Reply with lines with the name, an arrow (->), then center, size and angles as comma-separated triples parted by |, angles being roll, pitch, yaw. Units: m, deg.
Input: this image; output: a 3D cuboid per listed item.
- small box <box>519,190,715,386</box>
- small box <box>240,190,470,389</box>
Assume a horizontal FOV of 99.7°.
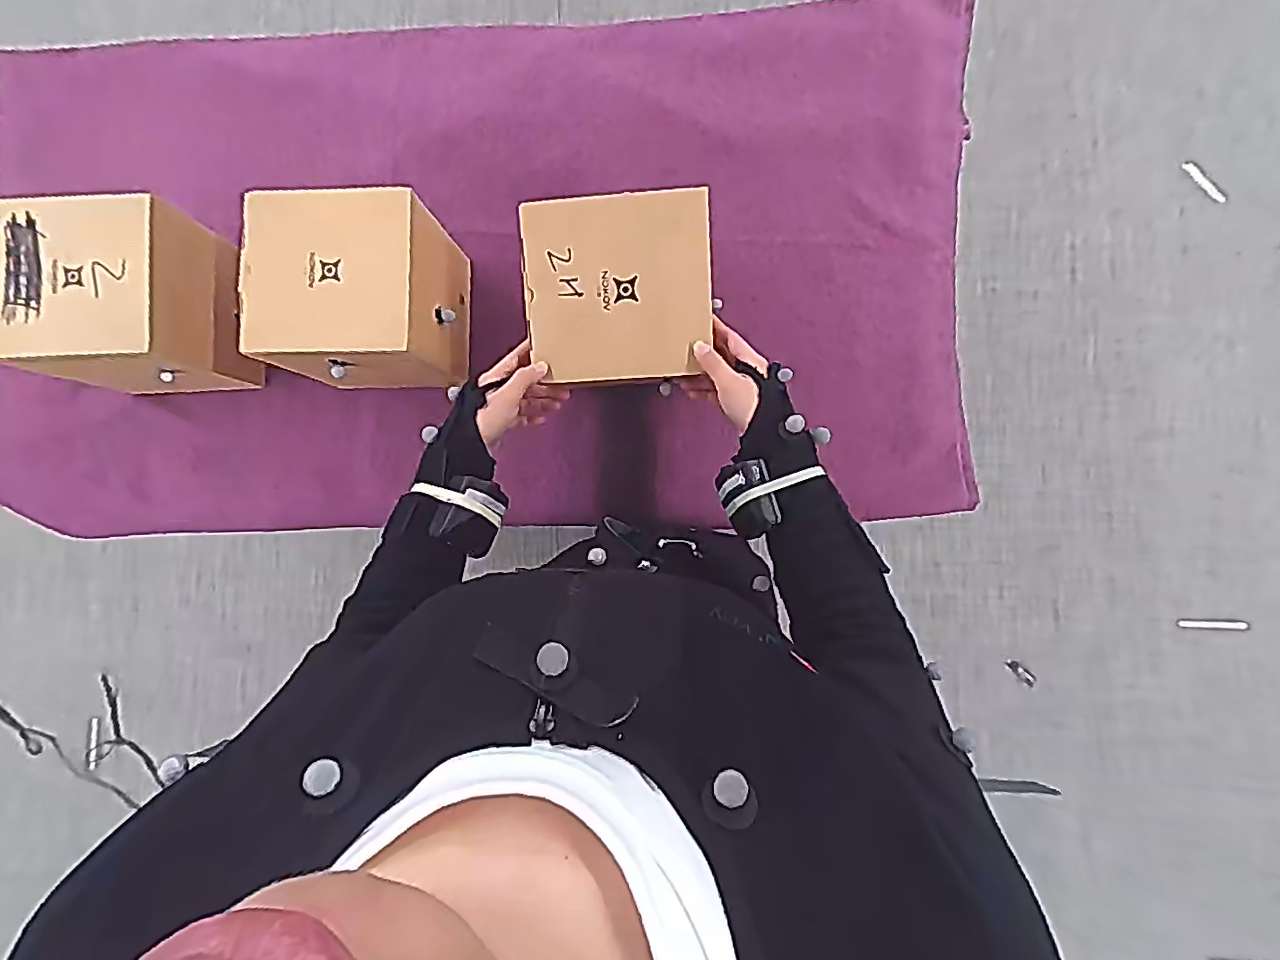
small box -> -0.015, -0.187, 0.573 | 0.179, 0.176, 0.168 | -2, 99, 6
small box -> -0.305, -0.202, 0.612 | 0.179, 0.176, 0.168 | 0, 88, 4
